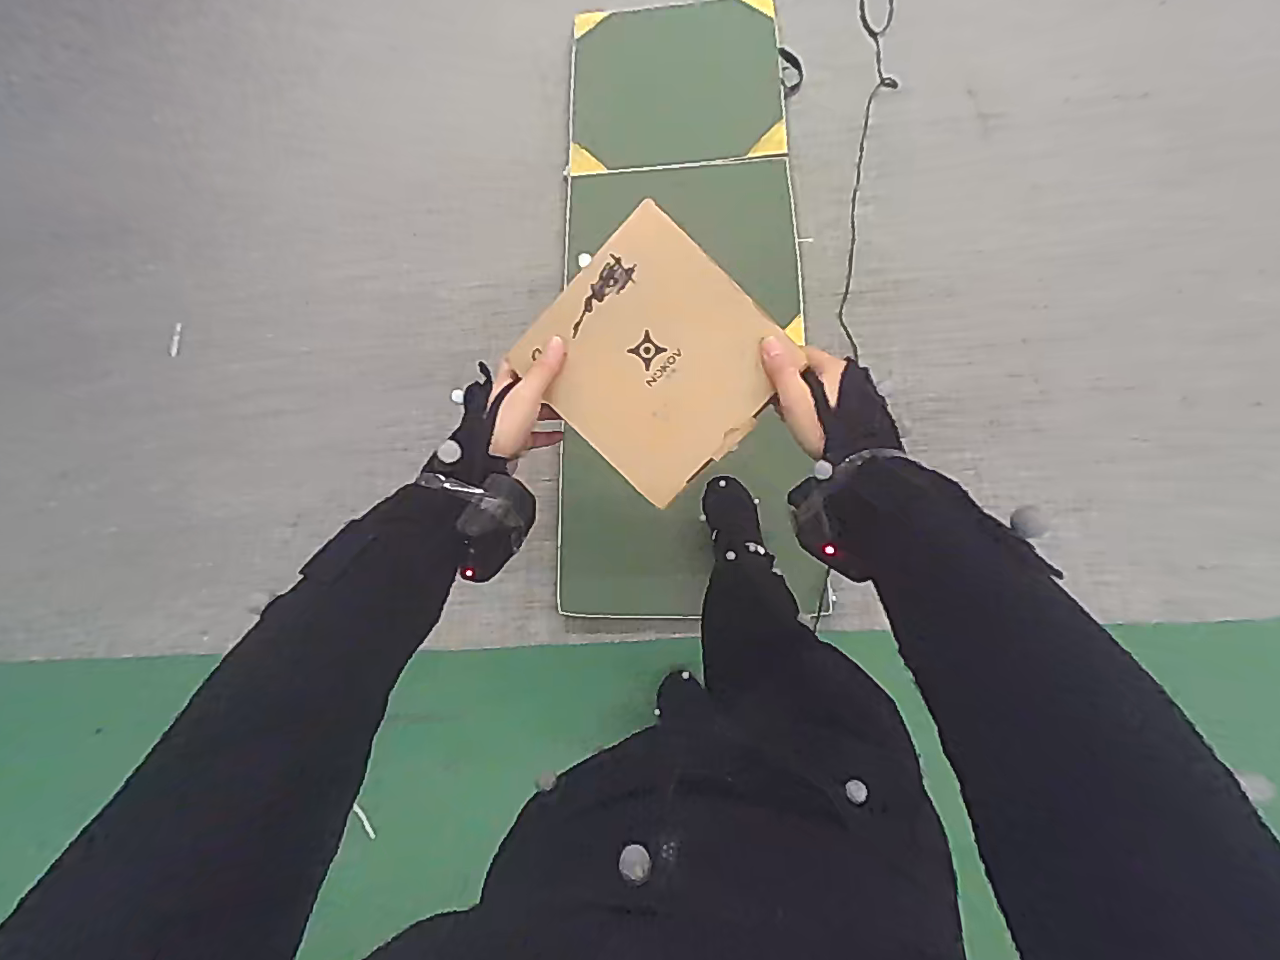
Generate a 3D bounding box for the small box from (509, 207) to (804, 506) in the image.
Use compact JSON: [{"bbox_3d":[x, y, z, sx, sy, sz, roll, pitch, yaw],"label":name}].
[{"bbox_3d":[0.017,-0.103,0.502,0.179,0.176,0.168,44,97,-2],"label":"small box"}]
